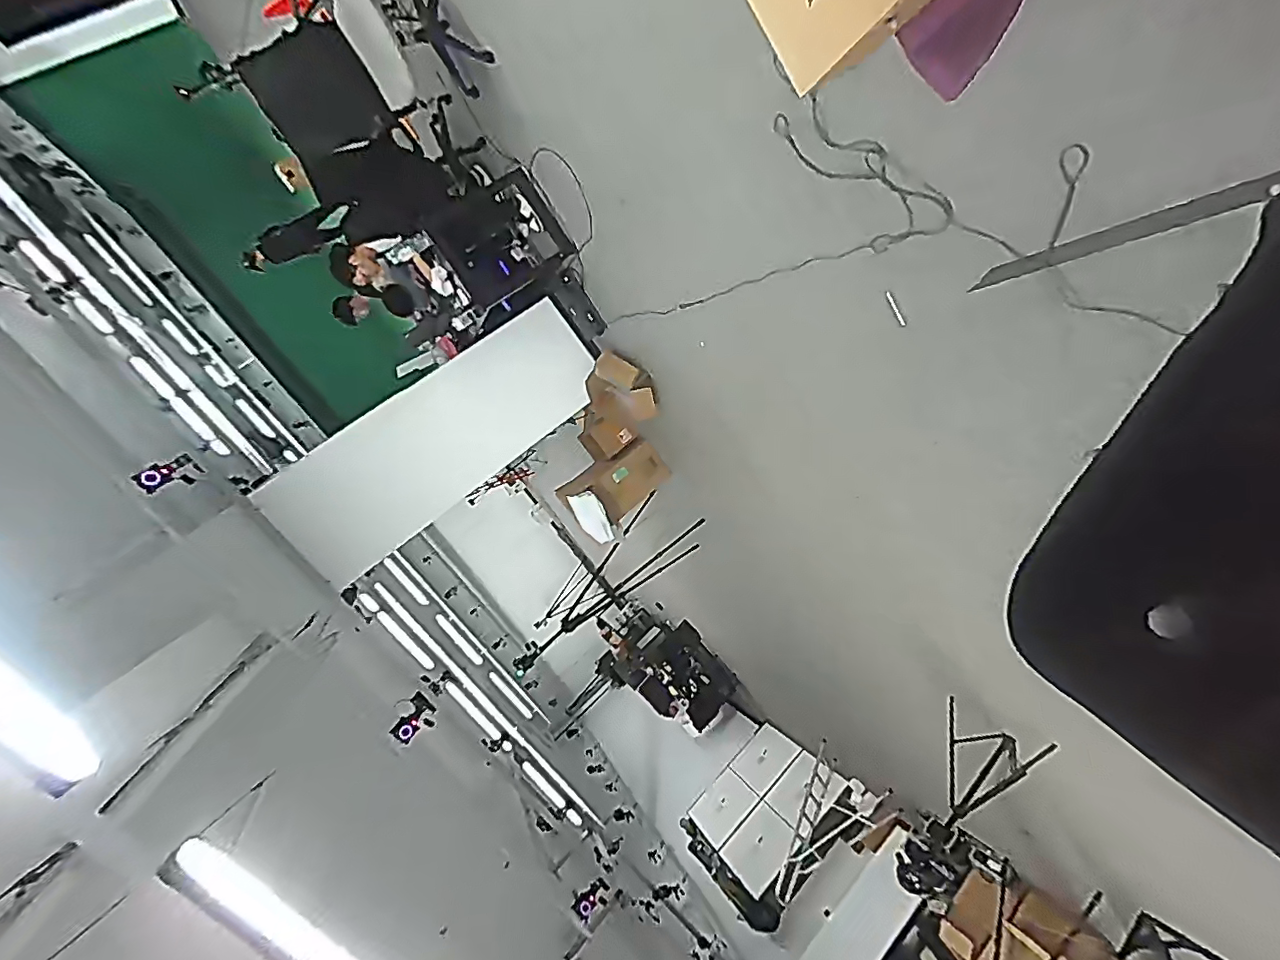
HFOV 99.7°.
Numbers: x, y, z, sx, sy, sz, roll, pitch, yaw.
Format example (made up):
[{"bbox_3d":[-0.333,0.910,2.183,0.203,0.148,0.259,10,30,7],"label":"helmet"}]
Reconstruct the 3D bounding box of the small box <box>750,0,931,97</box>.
[{"bbox_3d":[0.270,-0.640,0.676,0.168,0.176,0.179,54,161,-13],"label":"small box"}]
